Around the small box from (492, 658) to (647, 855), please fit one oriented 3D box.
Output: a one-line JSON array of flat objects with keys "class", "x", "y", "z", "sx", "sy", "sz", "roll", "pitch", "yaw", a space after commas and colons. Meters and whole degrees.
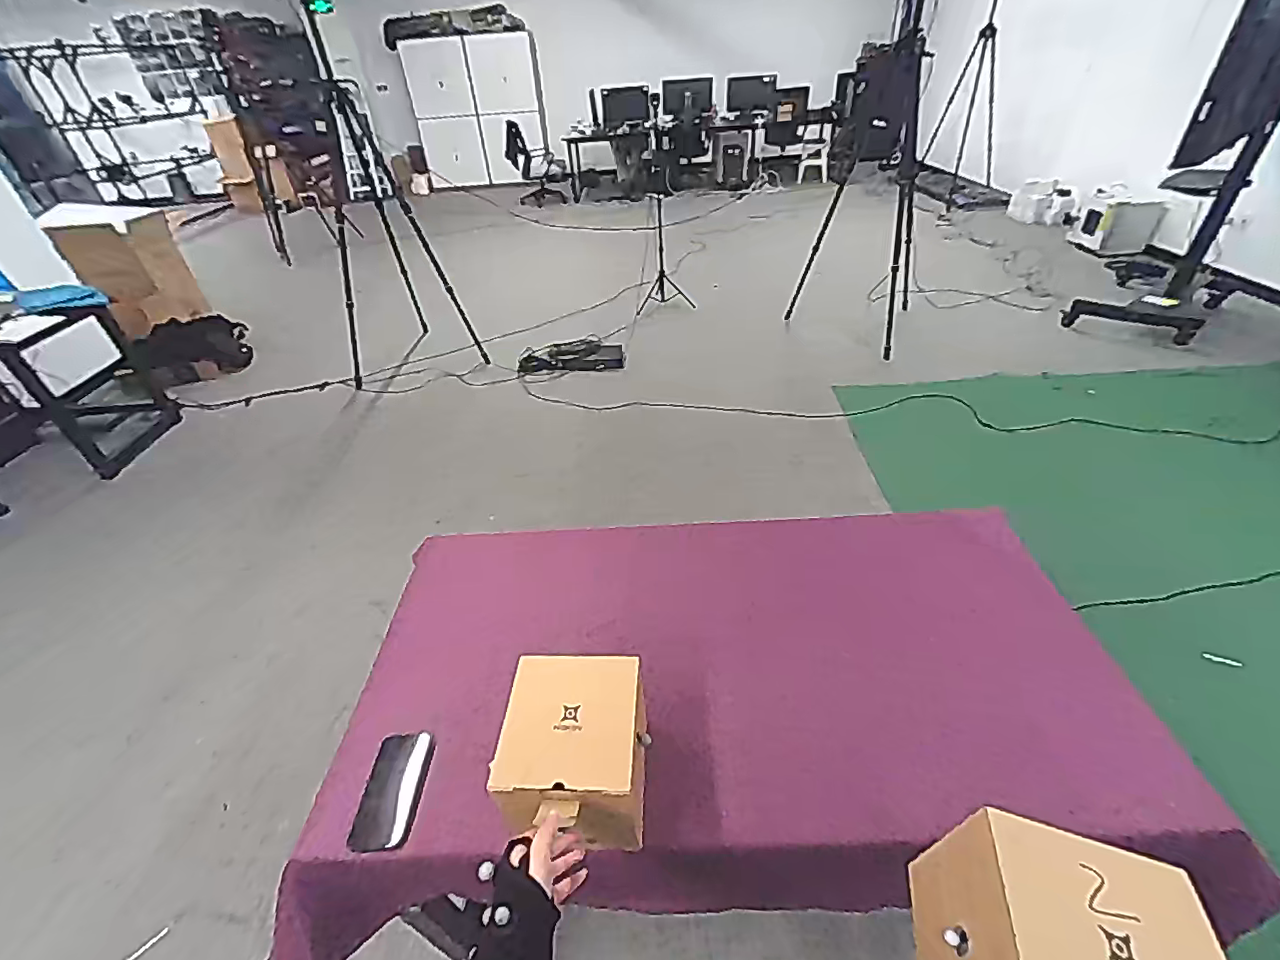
[{"class": "small box", "x": -0.079, "y": 0.360, "z": 0.714, "sx": 0.168, "sy": 0.176, "sz": 0.179, "roll": 0, "pitch": 38, "yaw": 4}]
